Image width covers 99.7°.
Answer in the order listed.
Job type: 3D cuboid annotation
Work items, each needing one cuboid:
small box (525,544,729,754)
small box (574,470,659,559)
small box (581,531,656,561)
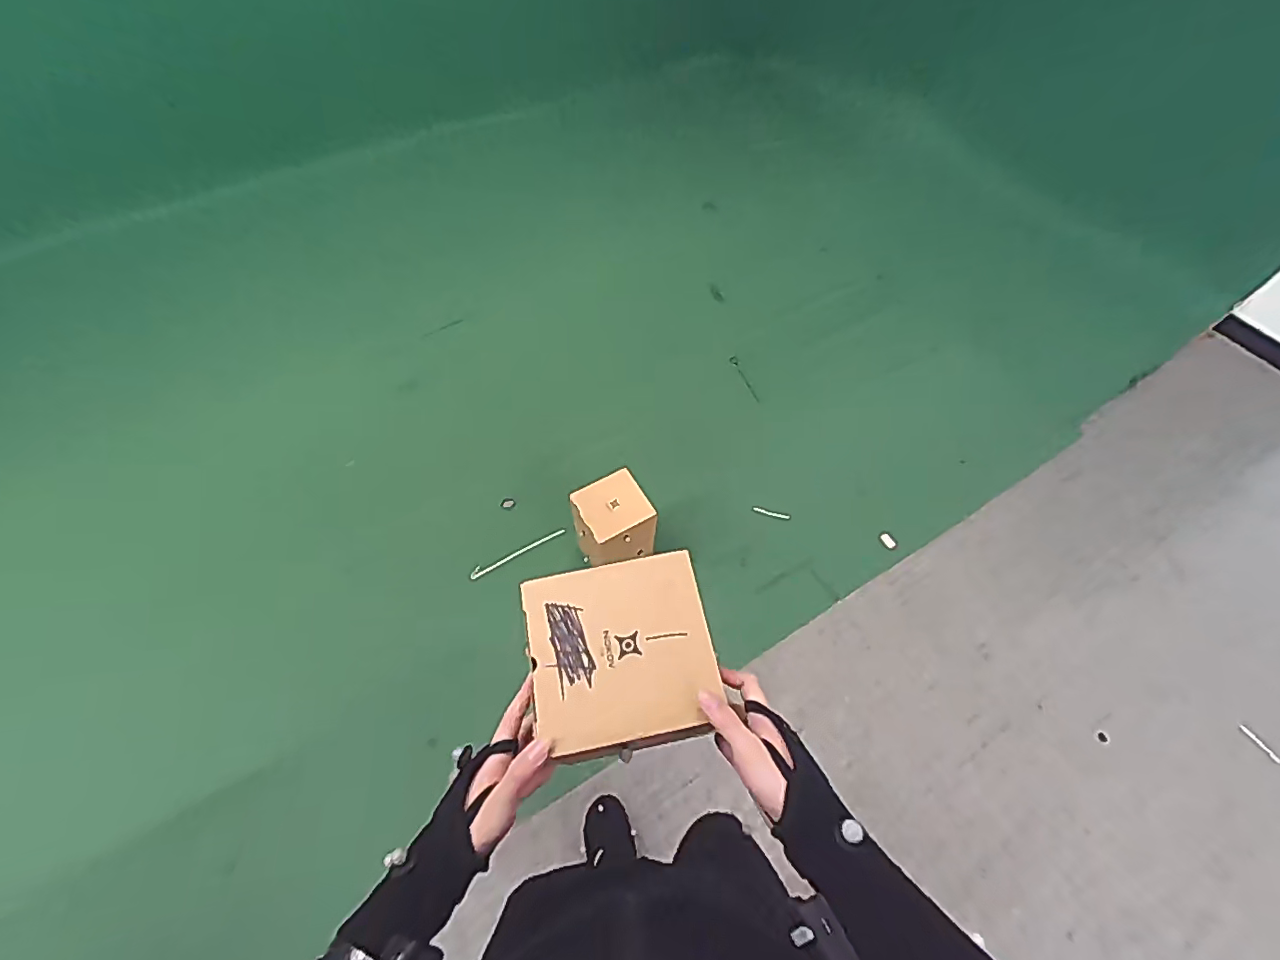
[{"bbox_3d":[-0.015,0.189,0.584,0.179,0.176,0.168,-10,61,-4],"label":"small box"},{"bbox_3d":[-0.065,0.107,1.483,0.179,0.176,0.168,-27,64,-15],"label":"small box"},{"bbox_3d":[-0.070,0.187,1.624,0.179,0.176,0.168,-26,63,-16],"label":"small box"}]
